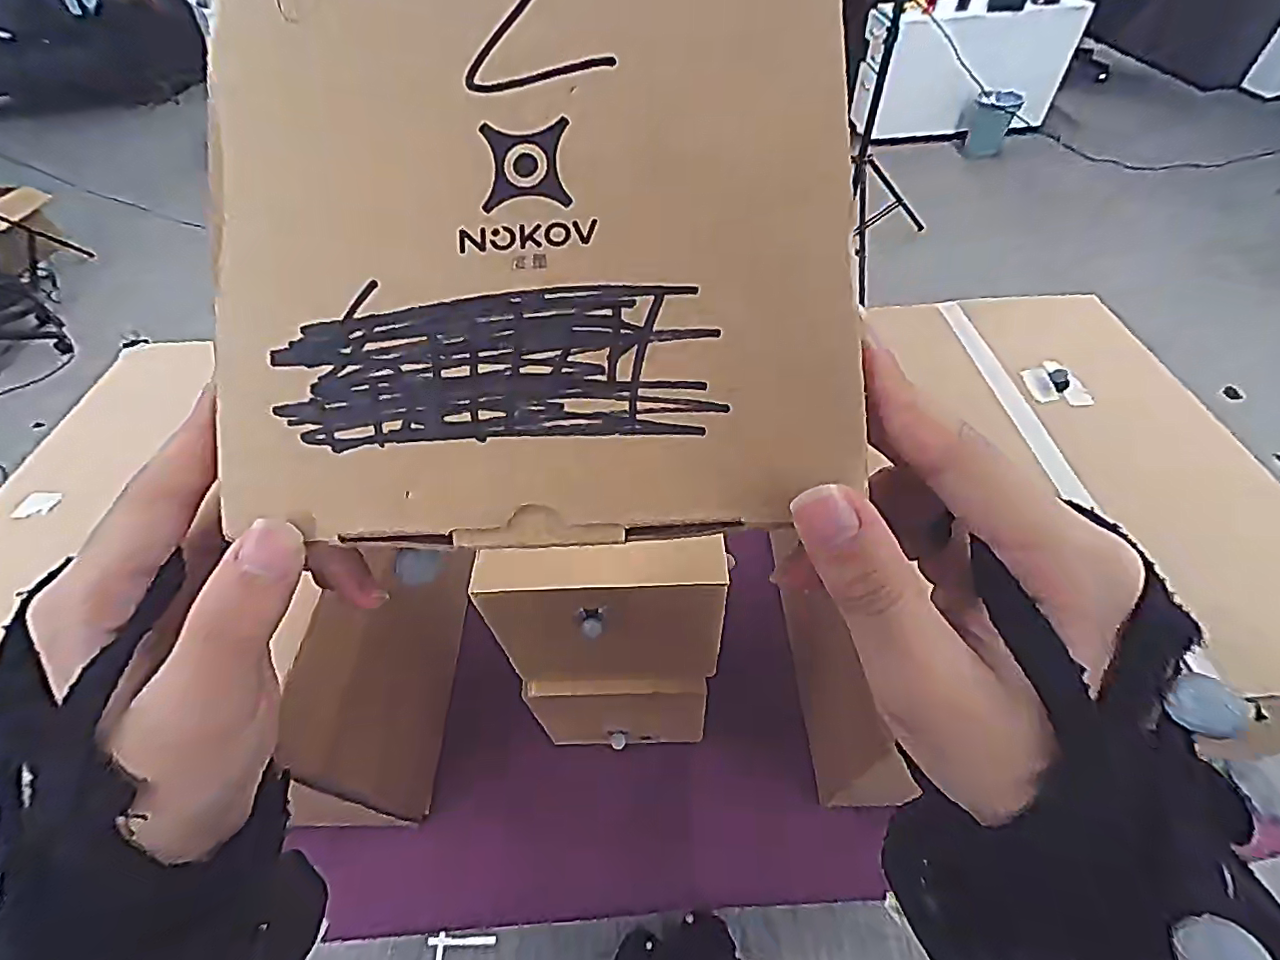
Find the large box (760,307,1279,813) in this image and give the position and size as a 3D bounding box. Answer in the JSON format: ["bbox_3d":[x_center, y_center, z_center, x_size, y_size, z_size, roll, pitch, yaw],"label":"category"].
[{"bbox_3d":[0.320,0.077,0.553,0.320,0.320,0.408,-3,49,1],"label":"large box"}]
